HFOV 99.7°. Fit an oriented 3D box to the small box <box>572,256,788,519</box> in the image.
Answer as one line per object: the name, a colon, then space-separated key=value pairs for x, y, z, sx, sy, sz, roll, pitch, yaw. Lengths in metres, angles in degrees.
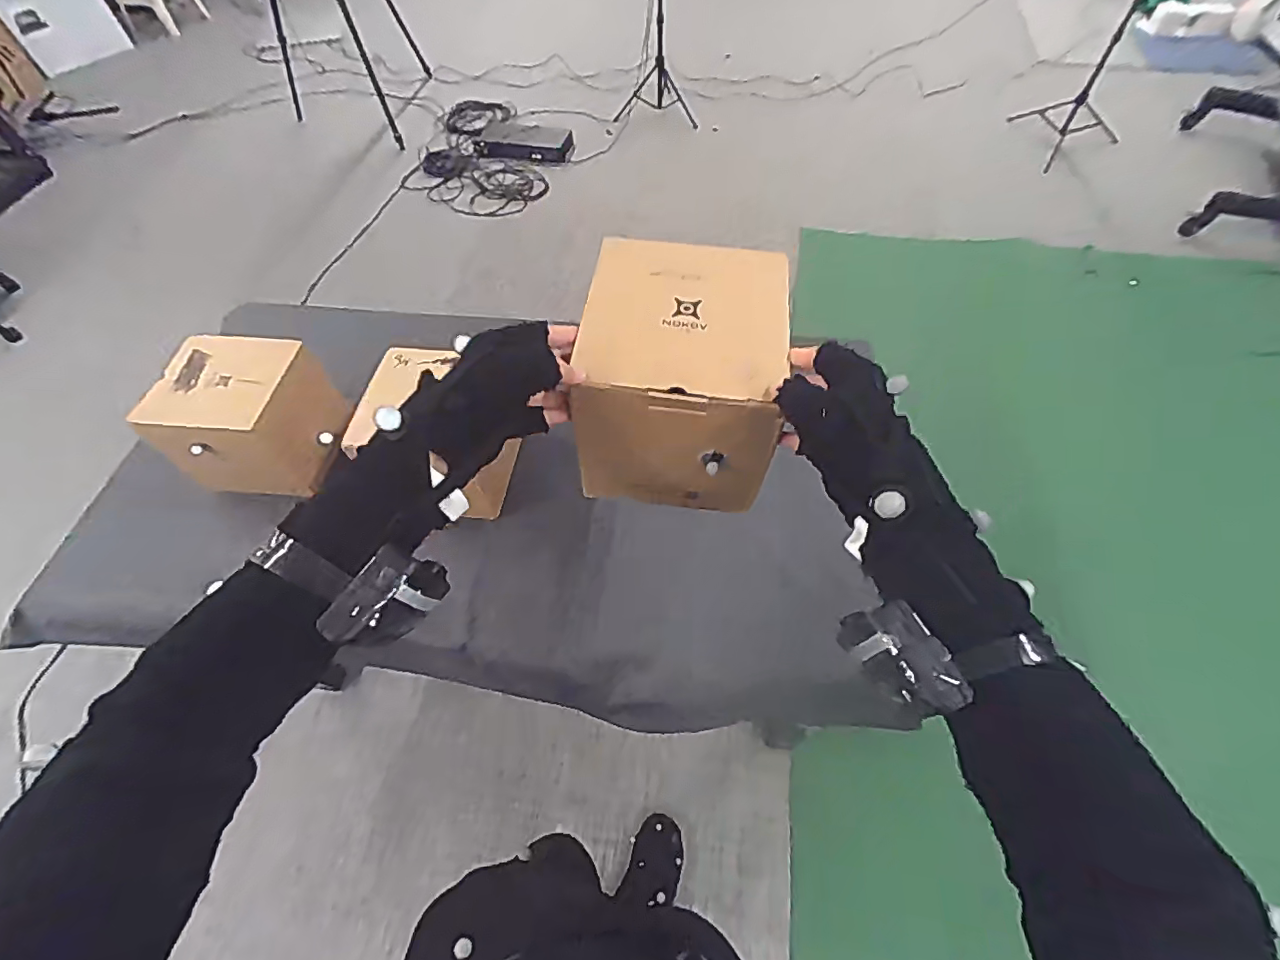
small box: x=0.038 y=-0.081 z=0.513 sx=0.168 sy=0.176 sz=0.179 roll=7 pitch=57 yaw=2

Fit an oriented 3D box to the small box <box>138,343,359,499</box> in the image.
small box: x=-0.567 y=-0.085 z=0.814 sx=0.179 sy=0.176 sz=0.168 roll=4 pitch=57 yaw=3

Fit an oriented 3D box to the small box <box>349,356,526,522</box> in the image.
small box: x=-0.276 y=-0.055 z=0.787 sx=0.168 sy=0.176 sz=0.179 roll=5 pitch=58 yaw=5
